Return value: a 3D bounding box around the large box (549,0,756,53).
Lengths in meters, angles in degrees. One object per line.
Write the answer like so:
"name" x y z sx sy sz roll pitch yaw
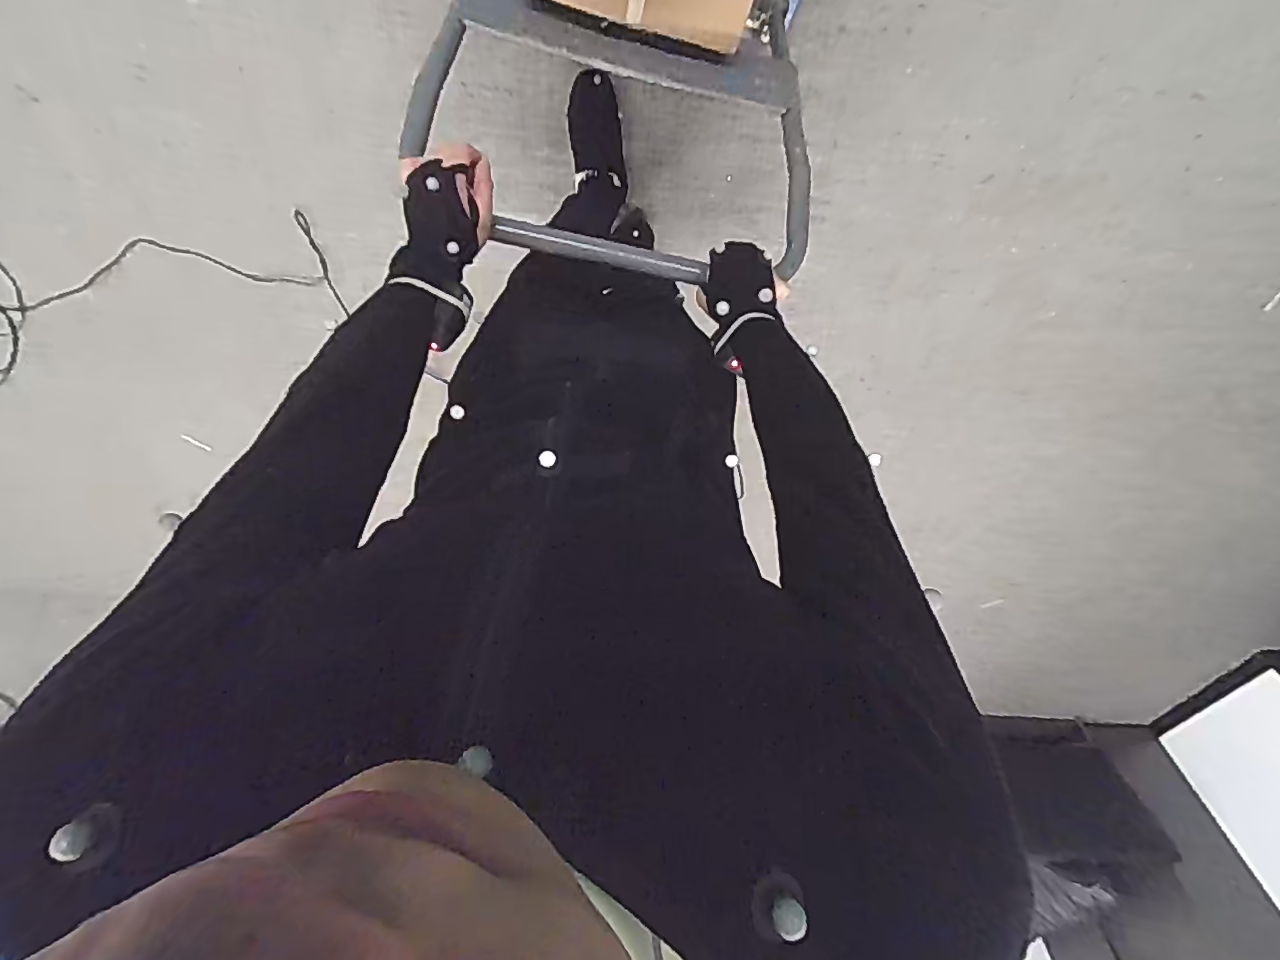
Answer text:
"large box" 0.043 -0.867 0.680 0.320 0.320 0.408 9 147 -9
